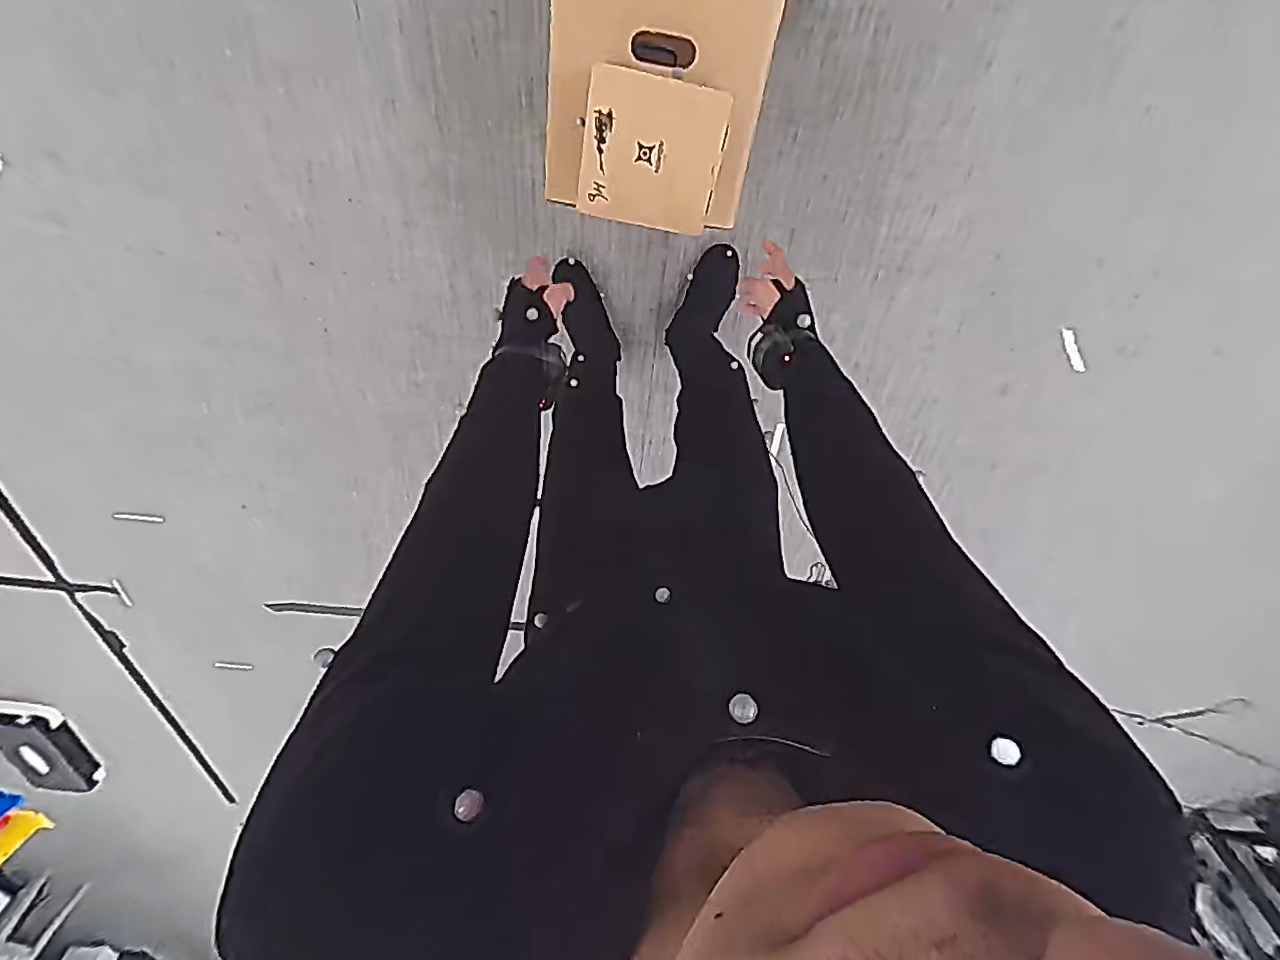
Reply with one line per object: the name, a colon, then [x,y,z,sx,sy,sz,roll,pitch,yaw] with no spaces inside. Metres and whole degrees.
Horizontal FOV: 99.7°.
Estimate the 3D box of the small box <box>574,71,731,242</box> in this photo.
small box: [0.011,-0.456,0.758,0.179,0.176,0.168,9,127,-7]
